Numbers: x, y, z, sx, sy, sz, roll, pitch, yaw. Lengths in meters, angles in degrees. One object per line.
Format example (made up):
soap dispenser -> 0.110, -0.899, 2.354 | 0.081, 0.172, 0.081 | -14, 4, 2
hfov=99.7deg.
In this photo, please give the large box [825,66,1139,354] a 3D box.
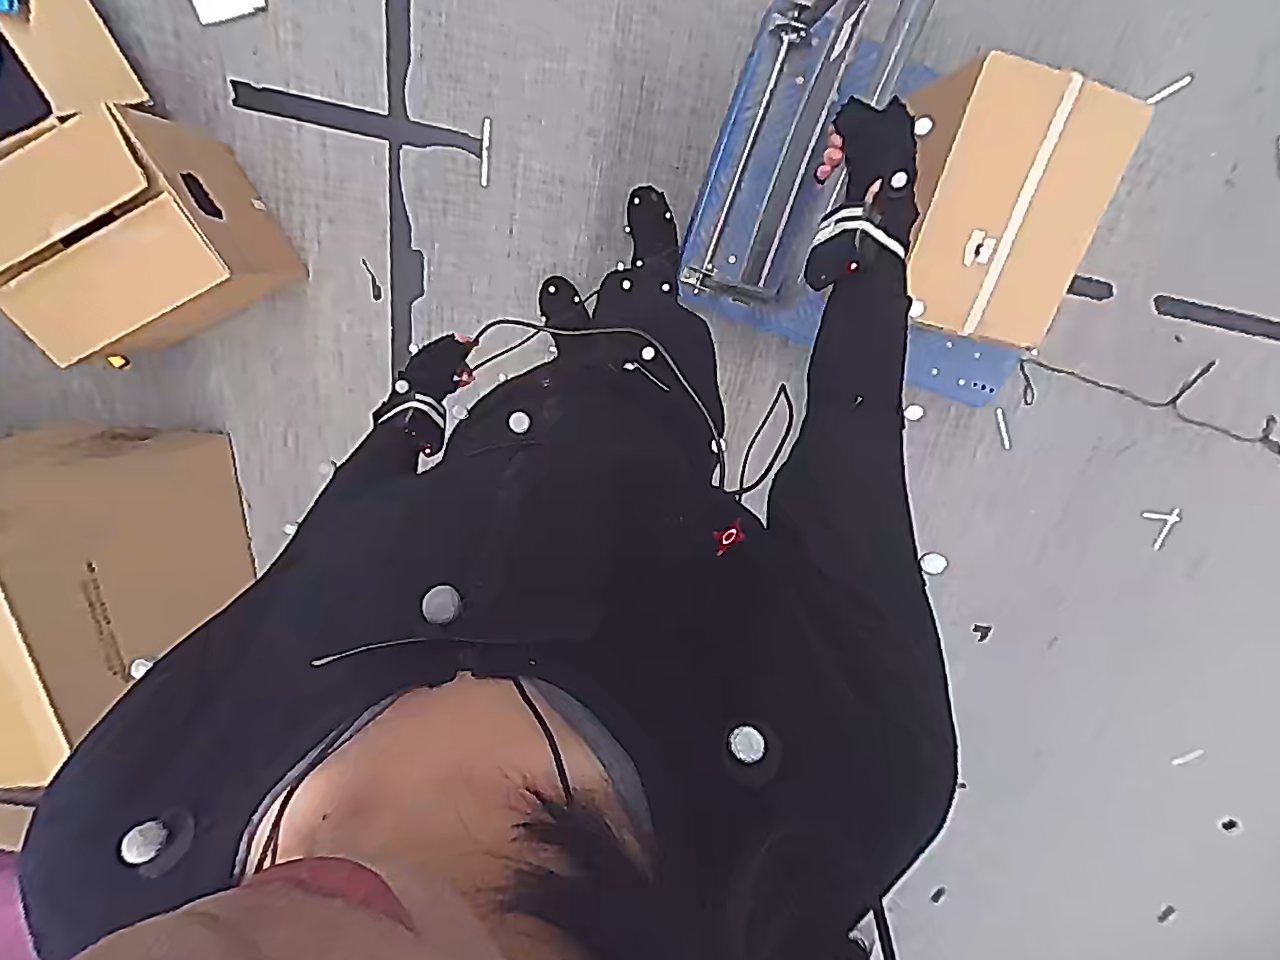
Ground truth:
large box -> 0.624, -0.501, 1.072 | 0.320, 0.320, 0.408 | 10, 111, -8
